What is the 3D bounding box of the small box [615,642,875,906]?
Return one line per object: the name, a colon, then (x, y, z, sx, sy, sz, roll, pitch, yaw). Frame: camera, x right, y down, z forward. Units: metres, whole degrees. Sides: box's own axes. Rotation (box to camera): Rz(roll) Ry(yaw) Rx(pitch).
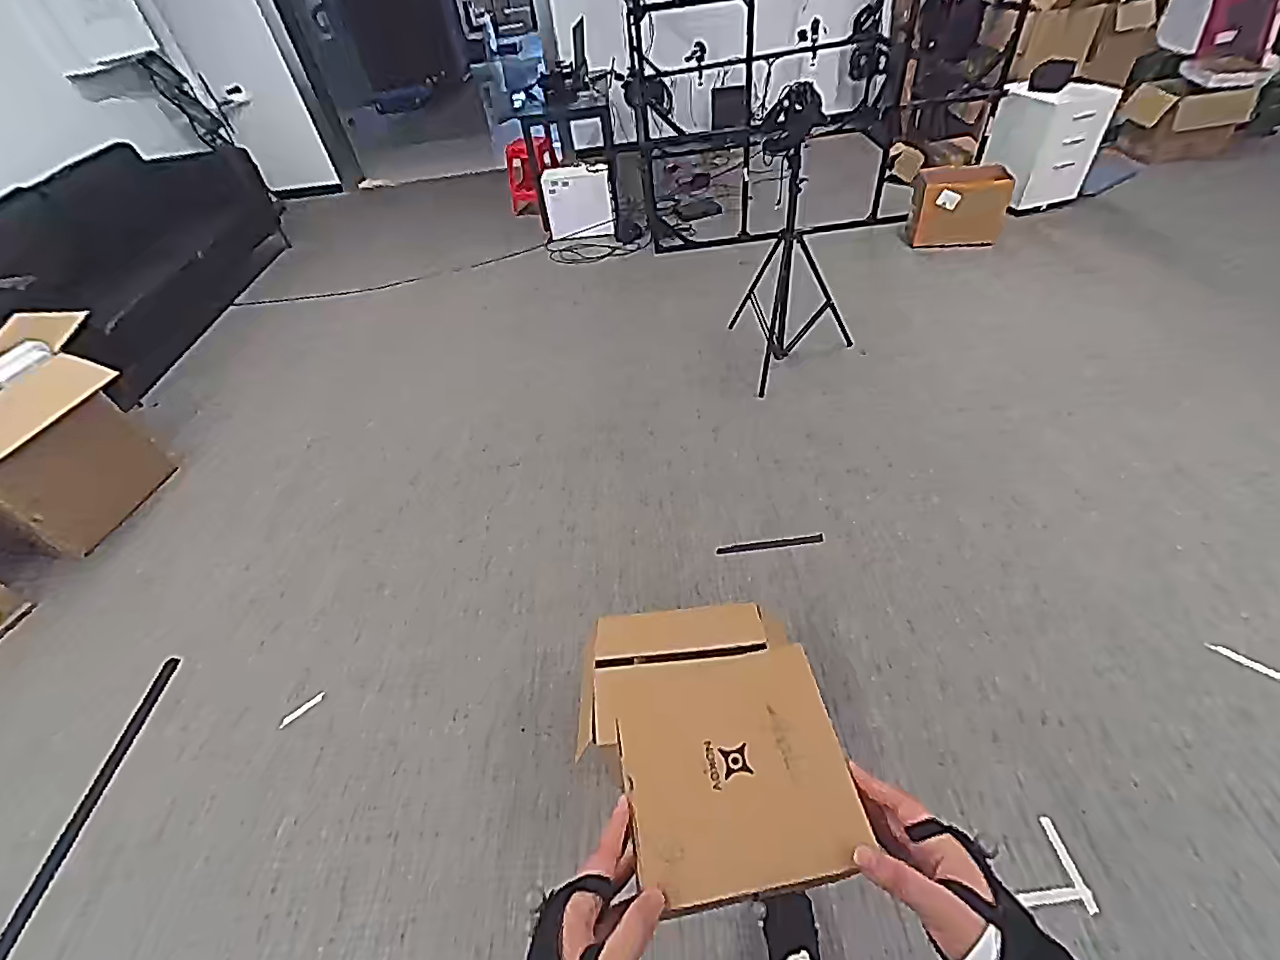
small box: (0.084, 0.276, 0.502, 0.179, 0.176, 0.168, -11, 51, -3)
